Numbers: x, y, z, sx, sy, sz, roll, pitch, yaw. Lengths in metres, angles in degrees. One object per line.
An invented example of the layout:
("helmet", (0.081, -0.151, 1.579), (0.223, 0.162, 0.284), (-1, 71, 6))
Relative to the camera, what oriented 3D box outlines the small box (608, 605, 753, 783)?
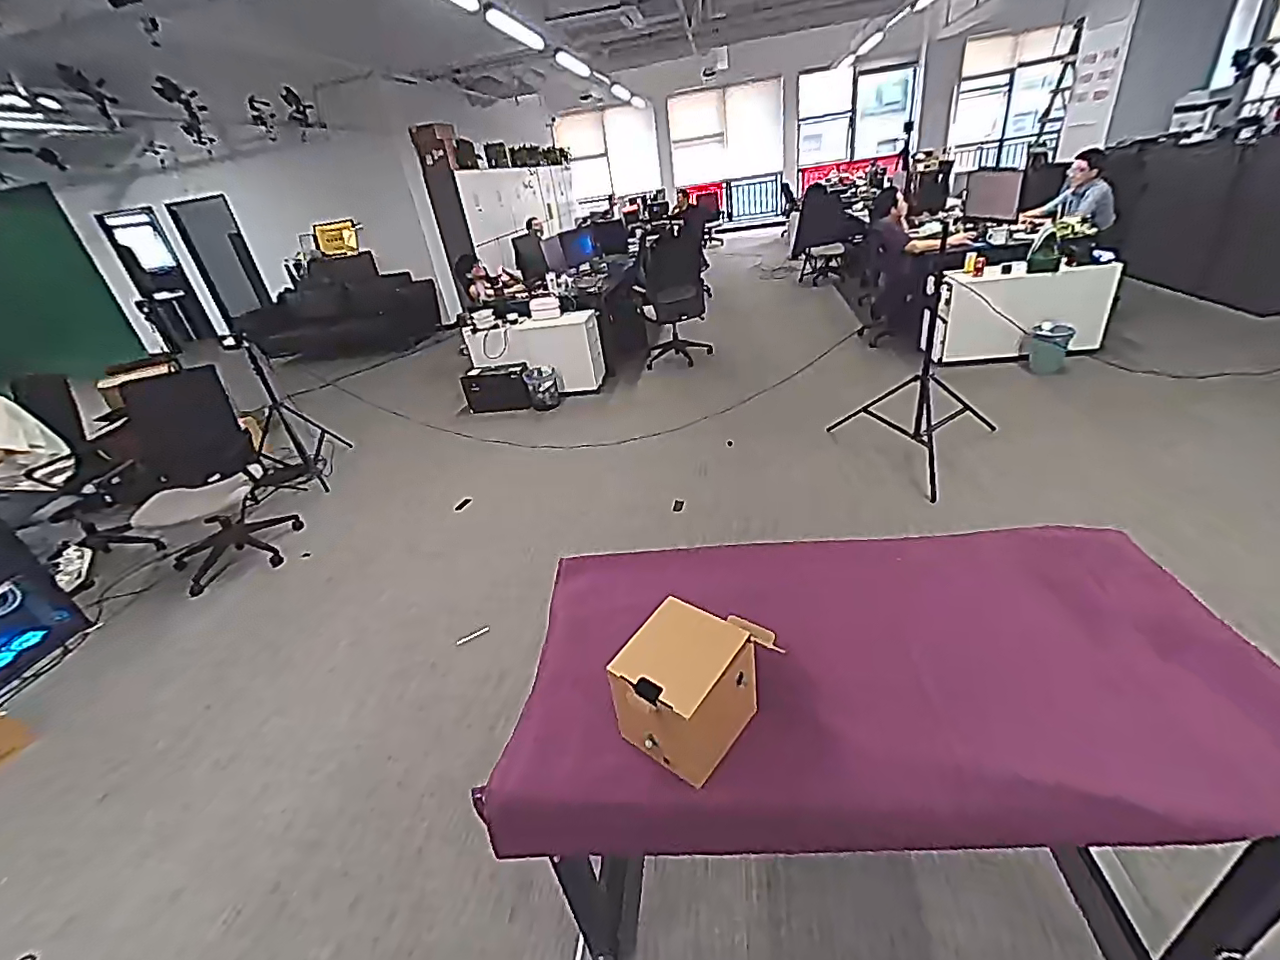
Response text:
("small box", (0.072, 0.345, 0.891), (0.168, 0.176, 0.179), (16, 37, 39))
